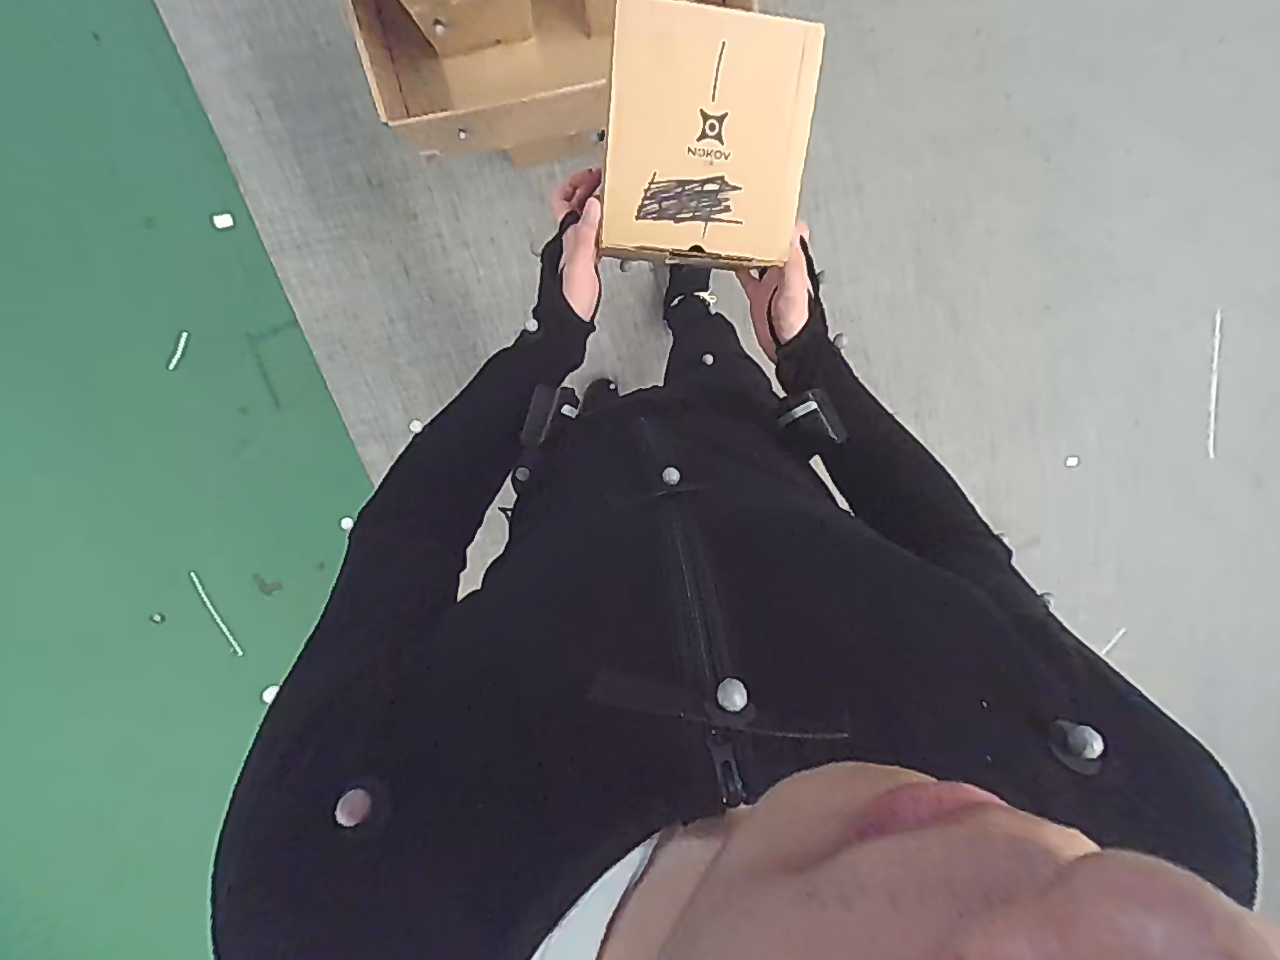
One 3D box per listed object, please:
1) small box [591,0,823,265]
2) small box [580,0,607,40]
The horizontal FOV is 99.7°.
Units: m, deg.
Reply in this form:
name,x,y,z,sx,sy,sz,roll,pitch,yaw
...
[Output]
name,x,y,z,sx,sy,sz,roll,pitch,yaw
small box,0.043,-0.302,0.499,0.168,0.176,0.179,3,108,-7
small box,-0.020,-0.830,0.834,0.168,0.176,0.179,-10,109,0
